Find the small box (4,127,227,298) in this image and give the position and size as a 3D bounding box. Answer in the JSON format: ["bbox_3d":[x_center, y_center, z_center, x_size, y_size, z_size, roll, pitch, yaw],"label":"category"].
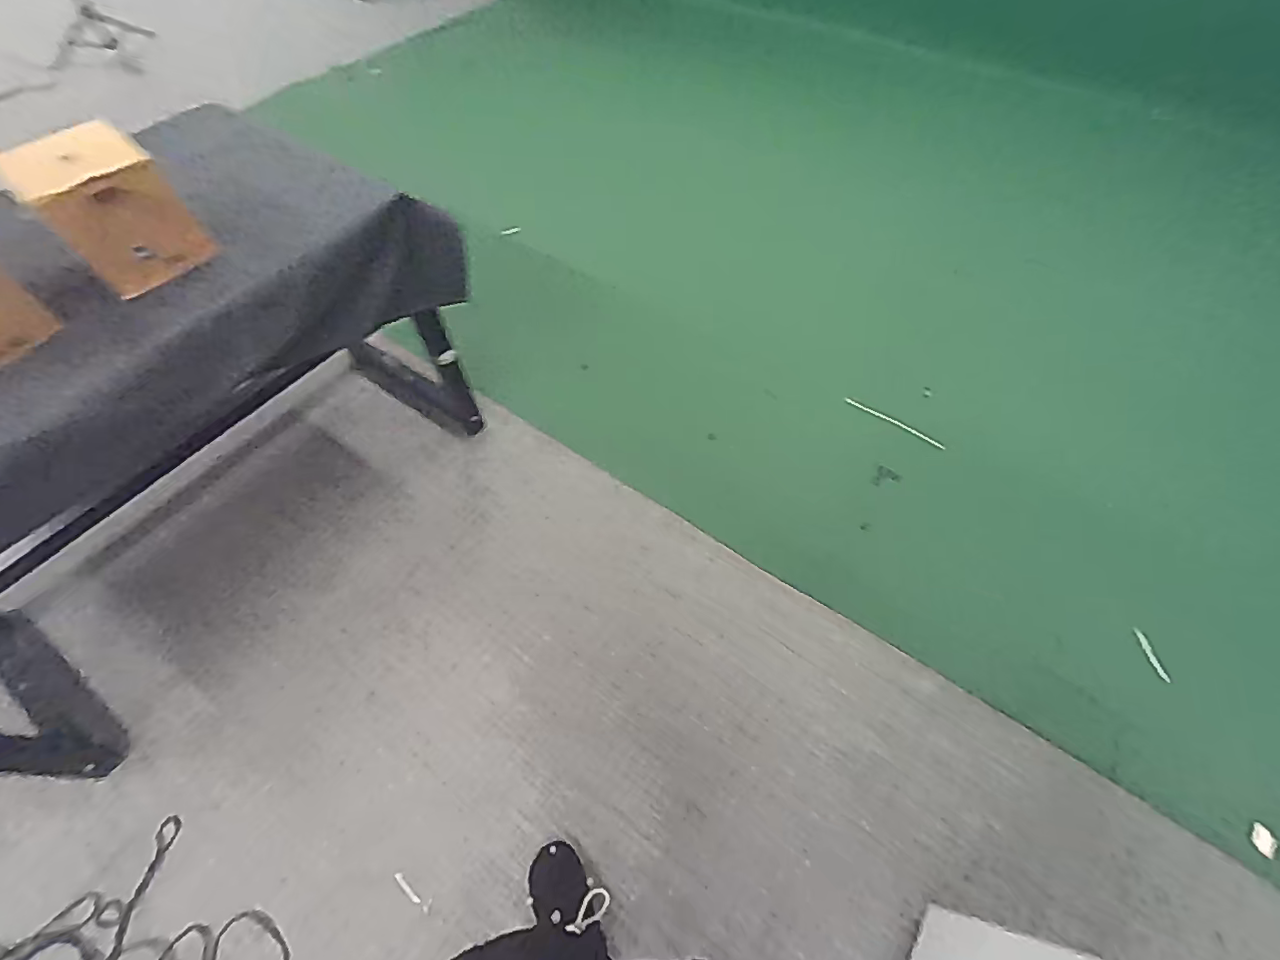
[{"bbox_3d":[-0.833,-0.428,0.877,0.179,0.176,0.168,37,64,20],"label":"small box"}]
